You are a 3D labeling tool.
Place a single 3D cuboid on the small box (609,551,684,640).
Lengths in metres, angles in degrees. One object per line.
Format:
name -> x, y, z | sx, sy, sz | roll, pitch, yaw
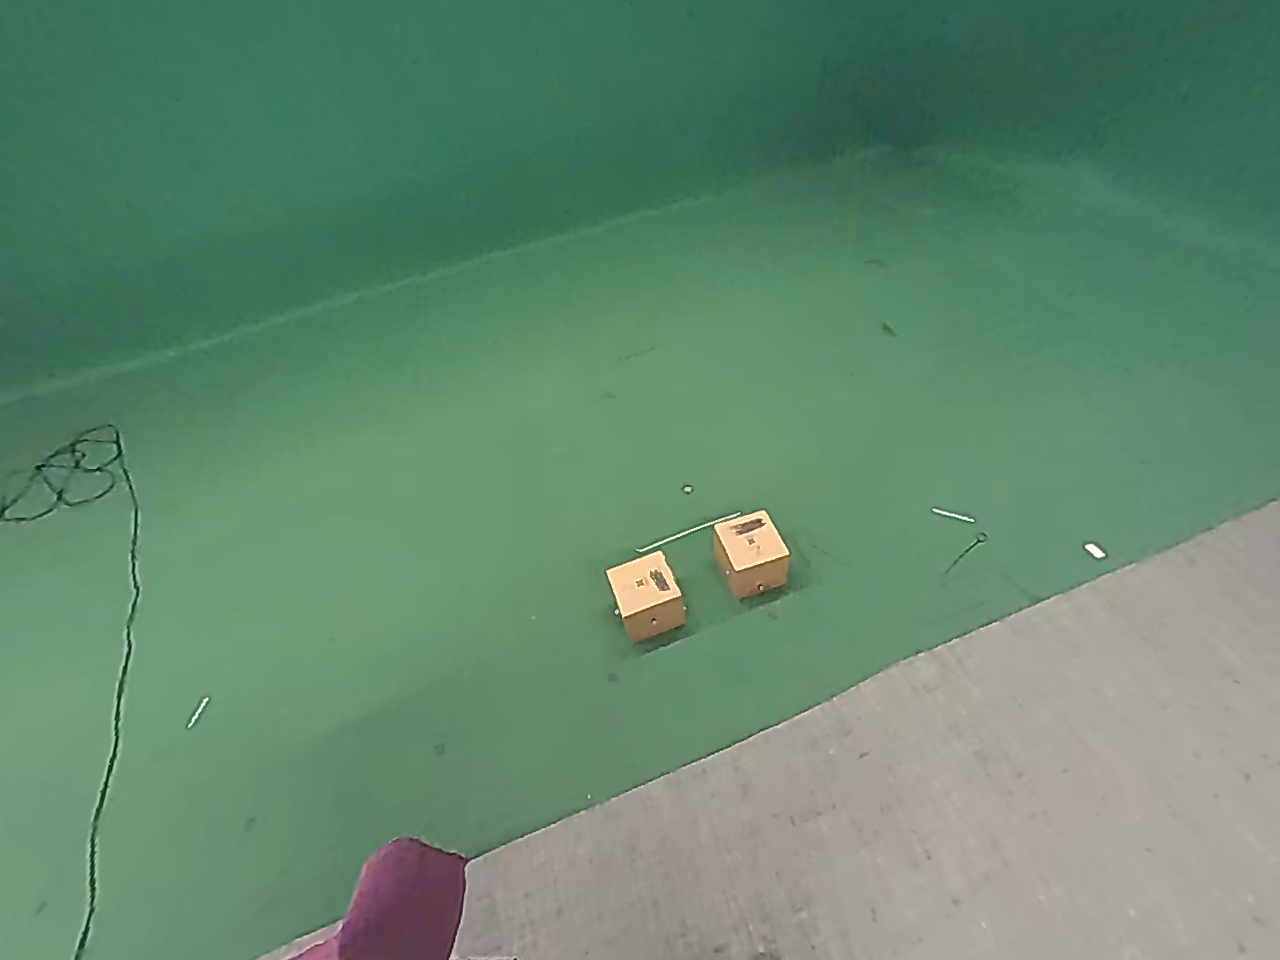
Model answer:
small box -> 0.024, 0.342, 1.591 | 0.179, 0.176, 0.168 | -20, 48, -6
